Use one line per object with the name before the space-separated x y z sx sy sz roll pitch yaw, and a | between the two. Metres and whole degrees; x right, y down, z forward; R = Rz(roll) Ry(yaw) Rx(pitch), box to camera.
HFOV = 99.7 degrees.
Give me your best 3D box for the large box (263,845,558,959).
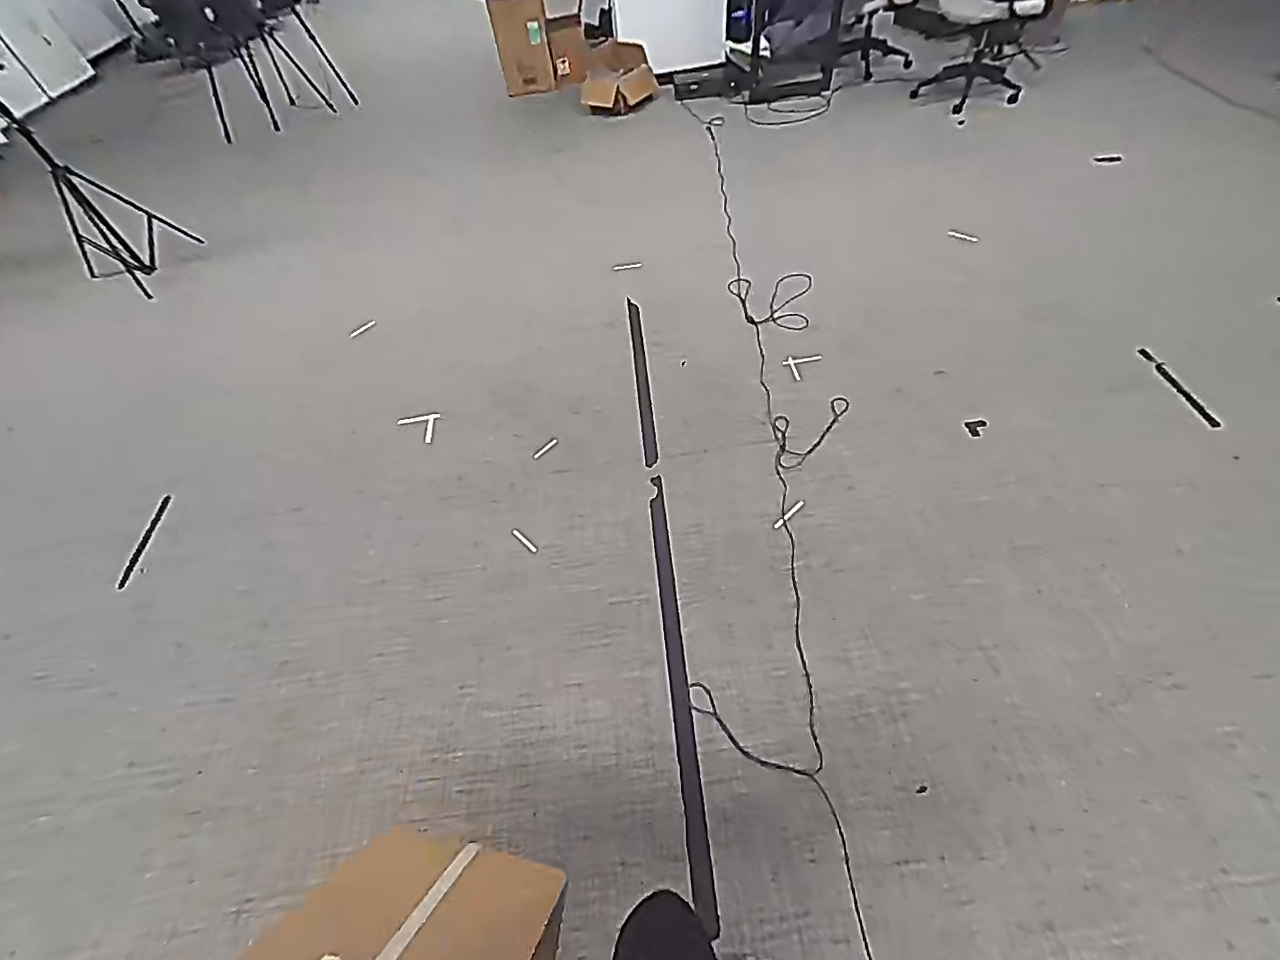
large box | -0.319 0.743 0.649 0.320 0.408 0.320 6 87 9
